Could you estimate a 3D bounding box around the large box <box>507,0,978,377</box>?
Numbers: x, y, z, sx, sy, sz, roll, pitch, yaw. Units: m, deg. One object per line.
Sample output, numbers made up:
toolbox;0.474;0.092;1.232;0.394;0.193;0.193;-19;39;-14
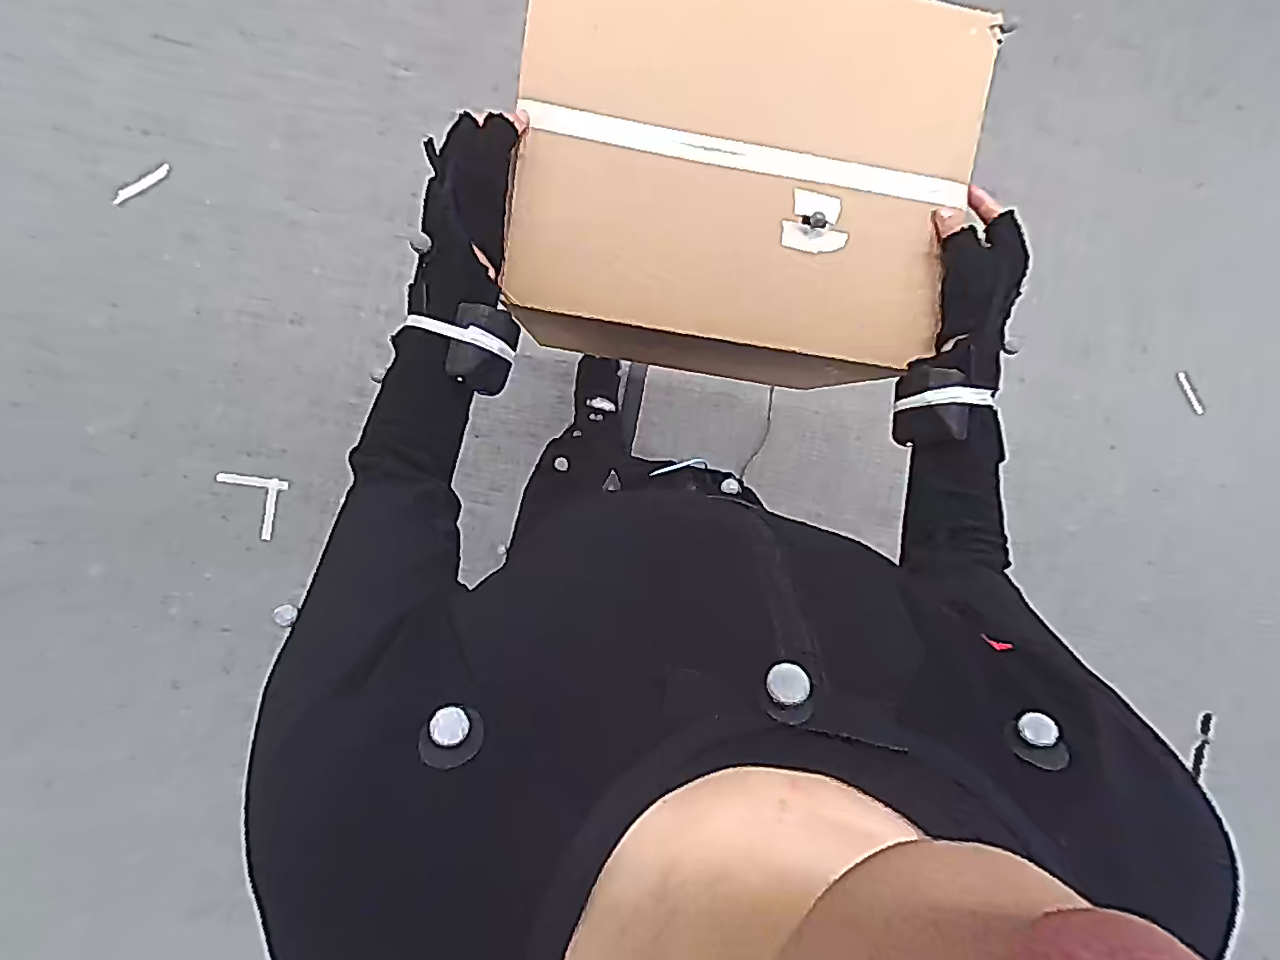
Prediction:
large box;0.081;-0.312;0.637;0.408;0.320;0.320;8;97;-5
